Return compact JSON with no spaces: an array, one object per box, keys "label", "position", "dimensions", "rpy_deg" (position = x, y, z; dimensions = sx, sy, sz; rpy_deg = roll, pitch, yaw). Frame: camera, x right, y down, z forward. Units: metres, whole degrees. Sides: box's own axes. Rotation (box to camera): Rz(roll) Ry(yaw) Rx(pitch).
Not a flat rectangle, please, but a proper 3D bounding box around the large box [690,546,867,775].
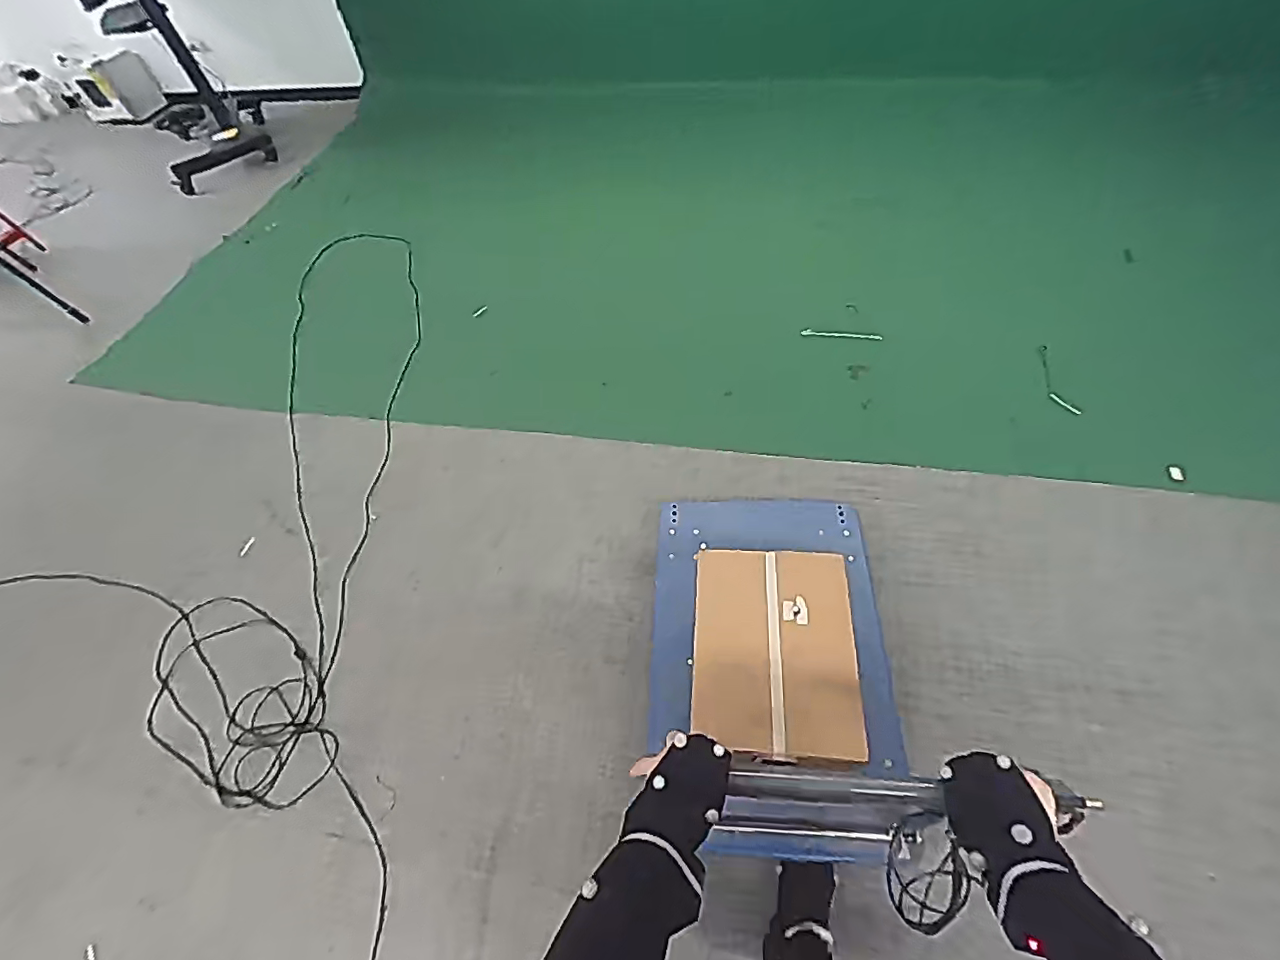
[{"label":"large box","position":[0.275,0.397,1.185],"dimensions":[0.320,0.320,0.408],"rpy_deg":[2,55,7]}]
